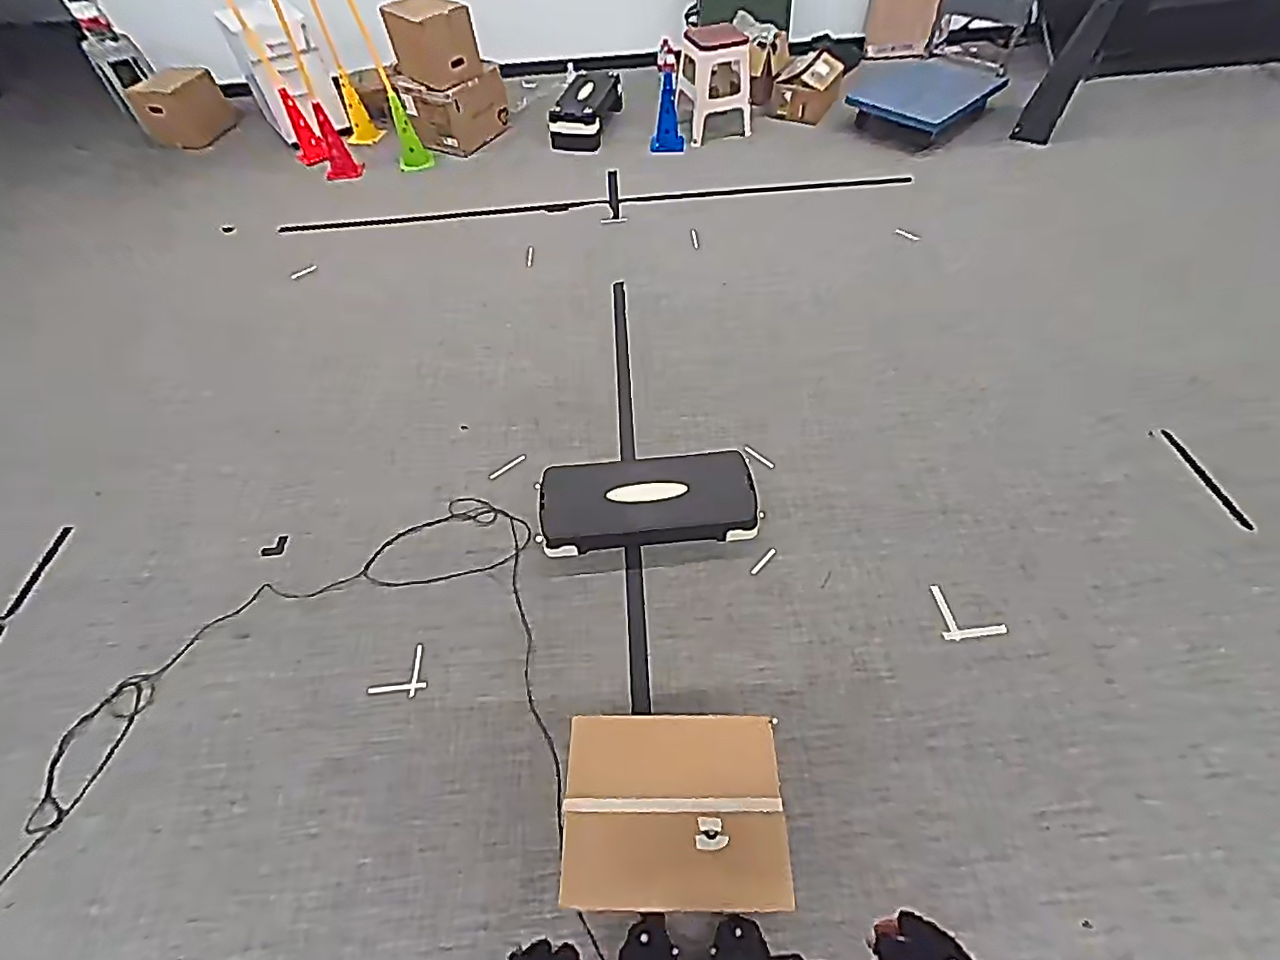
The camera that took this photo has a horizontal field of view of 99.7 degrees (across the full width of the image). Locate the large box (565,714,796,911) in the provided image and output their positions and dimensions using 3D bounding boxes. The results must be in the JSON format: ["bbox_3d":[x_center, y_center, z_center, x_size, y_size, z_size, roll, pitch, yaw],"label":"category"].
[{"bbox_3d":[0.070,0.691,1.124,0.408,0.320,0.320,-1,54,1],"label":"large box"}]
